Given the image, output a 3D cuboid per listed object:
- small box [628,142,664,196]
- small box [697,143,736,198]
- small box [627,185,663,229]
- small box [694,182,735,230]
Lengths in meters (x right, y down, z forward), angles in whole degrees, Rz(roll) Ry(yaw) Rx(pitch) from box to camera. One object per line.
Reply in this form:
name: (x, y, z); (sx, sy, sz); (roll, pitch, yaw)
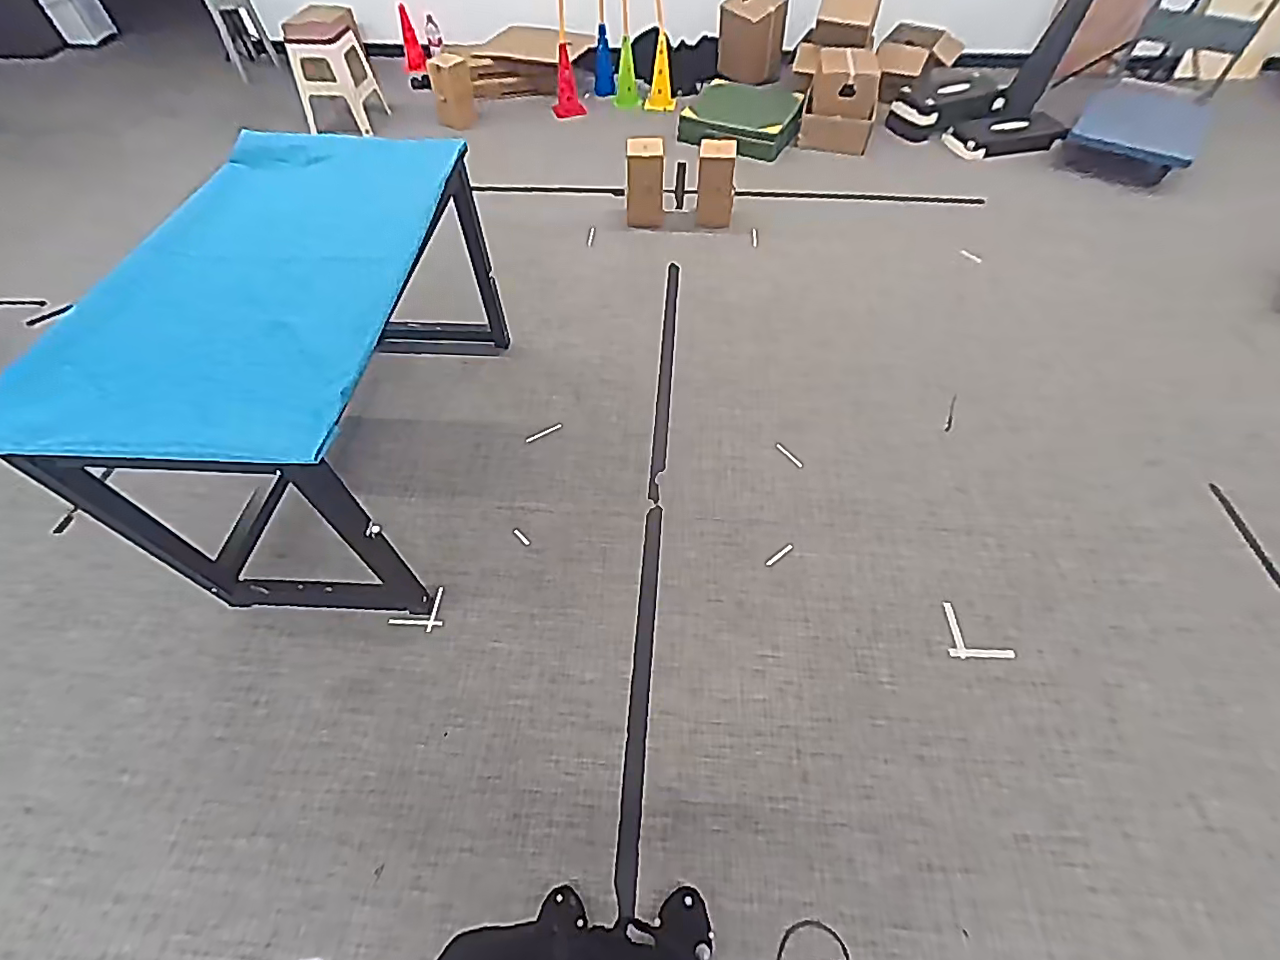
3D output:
small box: (0.026, -1.475, 2.564); (0.168, 0.176, 0.179); (-1, 55, 0)
small box: (0.360, -1.466, 2.562); (0.168, 0.176, 0.179); (5, 56, 5)
small box: (0.025, -1.375, 2.695); (0.179, 0.176, 0.168); (1, 55, 0)
small box: (0.369, -1.374, 2.696); (0.179, 0.176, 0.168); (7, 54, 3)
